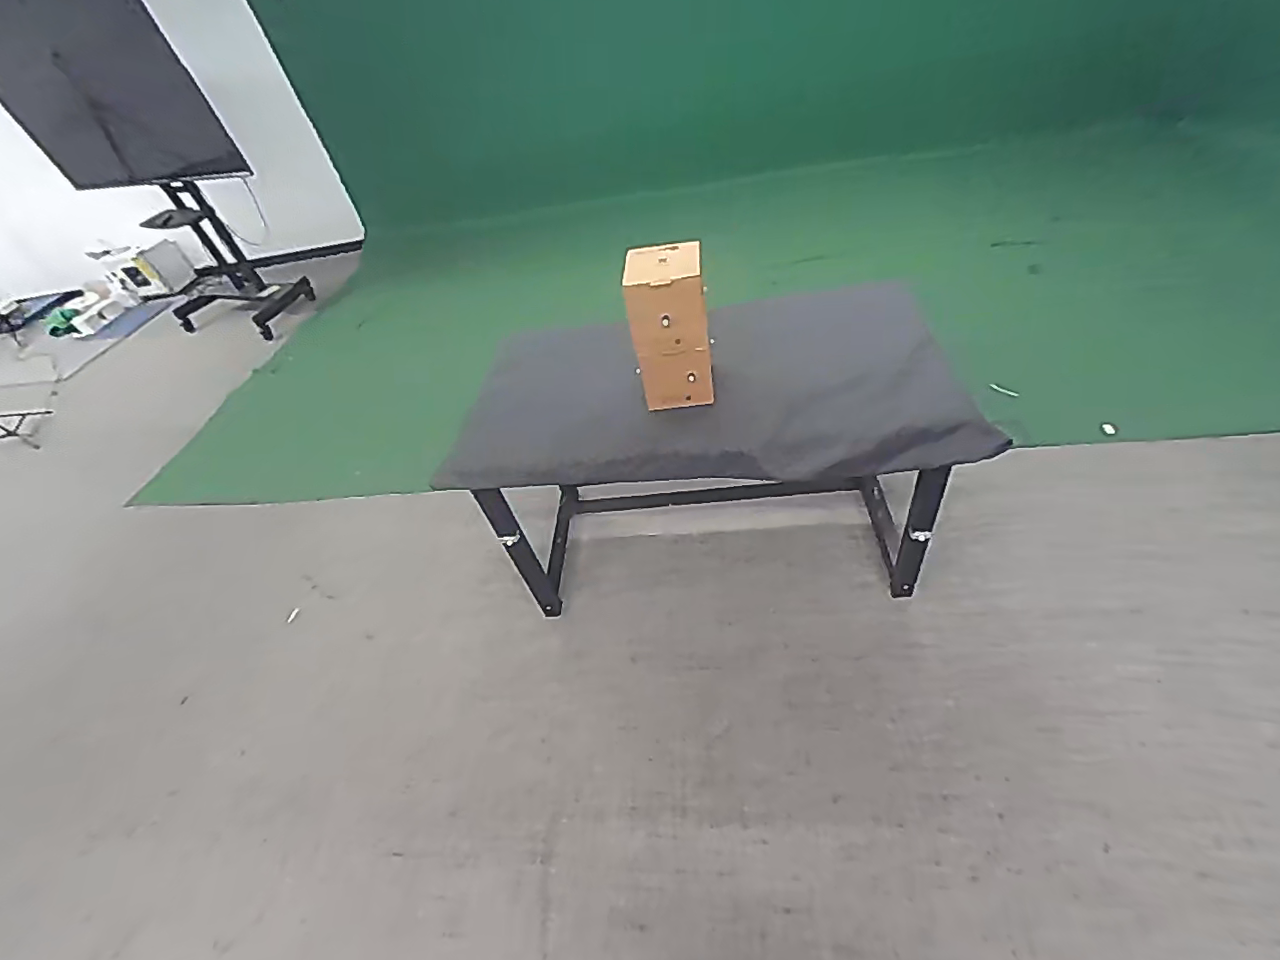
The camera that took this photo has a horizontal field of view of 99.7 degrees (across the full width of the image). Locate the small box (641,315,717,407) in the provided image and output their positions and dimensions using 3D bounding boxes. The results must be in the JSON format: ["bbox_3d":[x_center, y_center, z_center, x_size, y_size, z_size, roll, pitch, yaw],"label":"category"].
[{"bbox_3d":[0.100,-0.295,1.344,0.168,0.176,0.179,-5,45,8],"label":"small box"}]

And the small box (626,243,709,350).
[{"bbox_3d":[0.070,-0.411,1.232,0.168,0.176,0.179,-3,47,9],"label":"small box"}]
